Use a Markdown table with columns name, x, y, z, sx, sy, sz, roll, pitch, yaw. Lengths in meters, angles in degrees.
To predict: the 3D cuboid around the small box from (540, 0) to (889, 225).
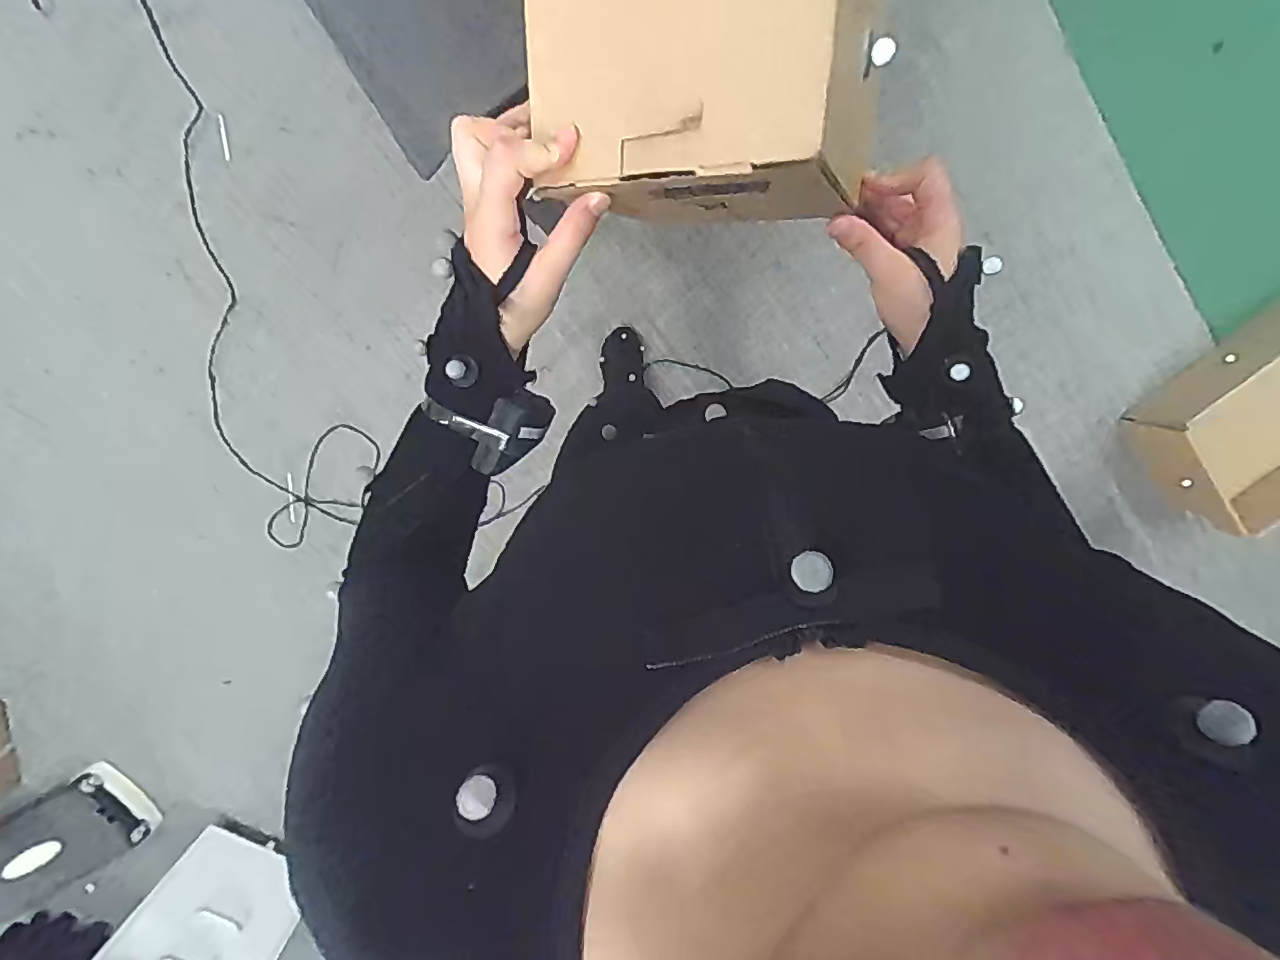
| name | x | y | z | sx | sy | sz | roll | pitch | yaw |
| --- | --- | --- | --- | --- | --- | --- | --- | --- | --- |
| small box | 0.051 | -0.259 | 0.327 | 0.168 | 0.179 | 0.176 | 11 | 112 | 25 |
